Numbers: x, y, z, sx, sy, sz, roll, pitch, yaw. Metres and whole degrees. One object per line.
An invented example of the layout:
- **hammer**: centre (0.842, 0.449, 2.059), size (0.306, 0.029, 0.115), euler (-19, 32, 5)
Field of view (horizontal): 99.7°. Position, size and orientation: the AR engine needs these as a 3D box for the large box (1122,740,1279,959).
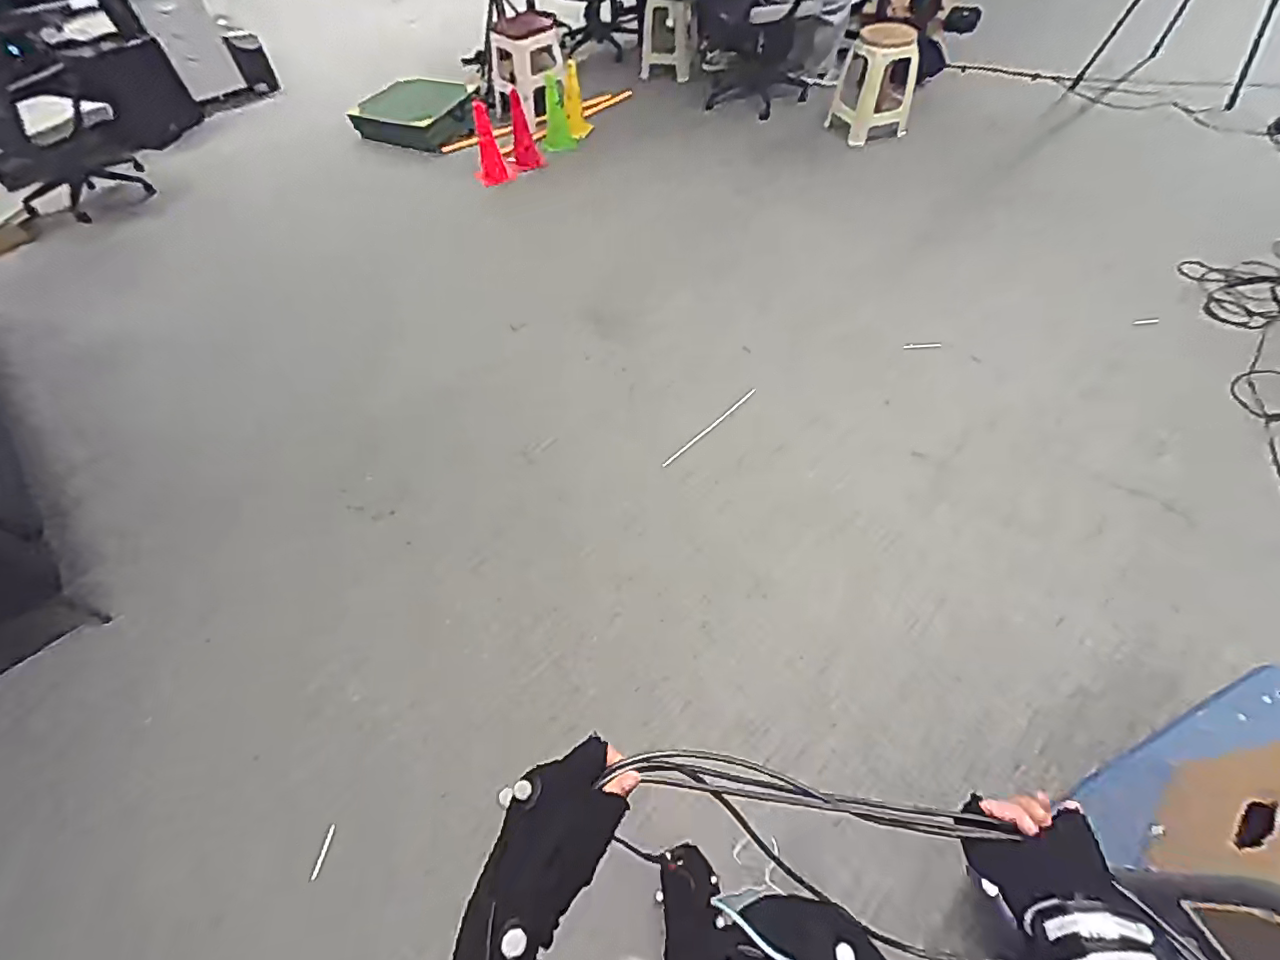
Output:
- **large box**: centre (1.105, 0.681, 0.830), size (0.408, 0.320, 0.320), euler (36, 64, 26)
